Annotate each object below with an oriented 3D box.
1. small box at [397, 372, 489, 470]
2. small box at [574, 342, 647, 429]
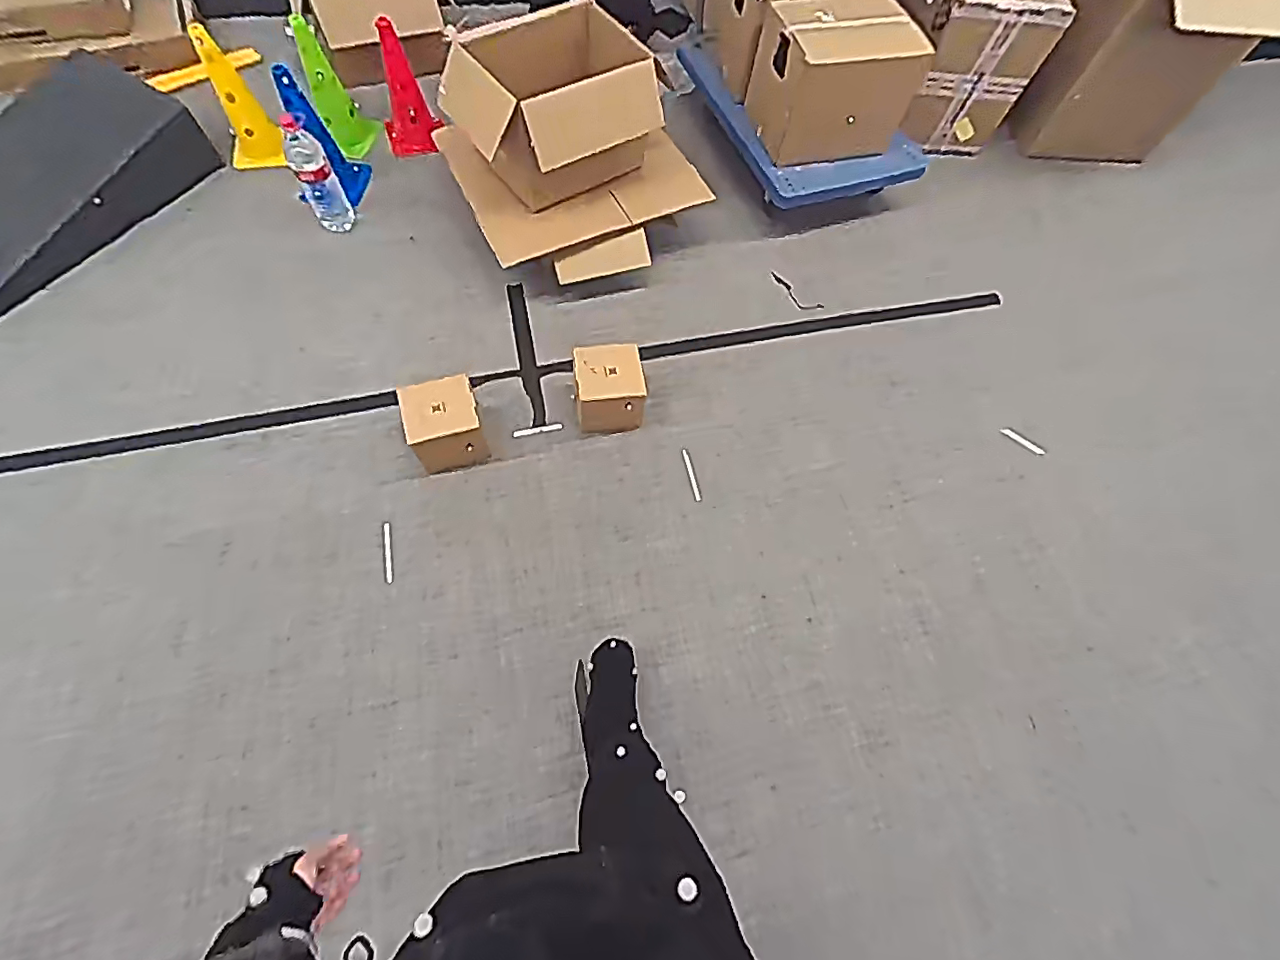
[{"bbox_3d":[-0.498,-0.147,1.390,0.179,0.176,0.168,-17,68,-11],"label":"small box"},{"bbox_3d":[-0.087,-0.254,1.471,0.179,0.176,0.168,-7,67,-8],"label":"small box"}]
